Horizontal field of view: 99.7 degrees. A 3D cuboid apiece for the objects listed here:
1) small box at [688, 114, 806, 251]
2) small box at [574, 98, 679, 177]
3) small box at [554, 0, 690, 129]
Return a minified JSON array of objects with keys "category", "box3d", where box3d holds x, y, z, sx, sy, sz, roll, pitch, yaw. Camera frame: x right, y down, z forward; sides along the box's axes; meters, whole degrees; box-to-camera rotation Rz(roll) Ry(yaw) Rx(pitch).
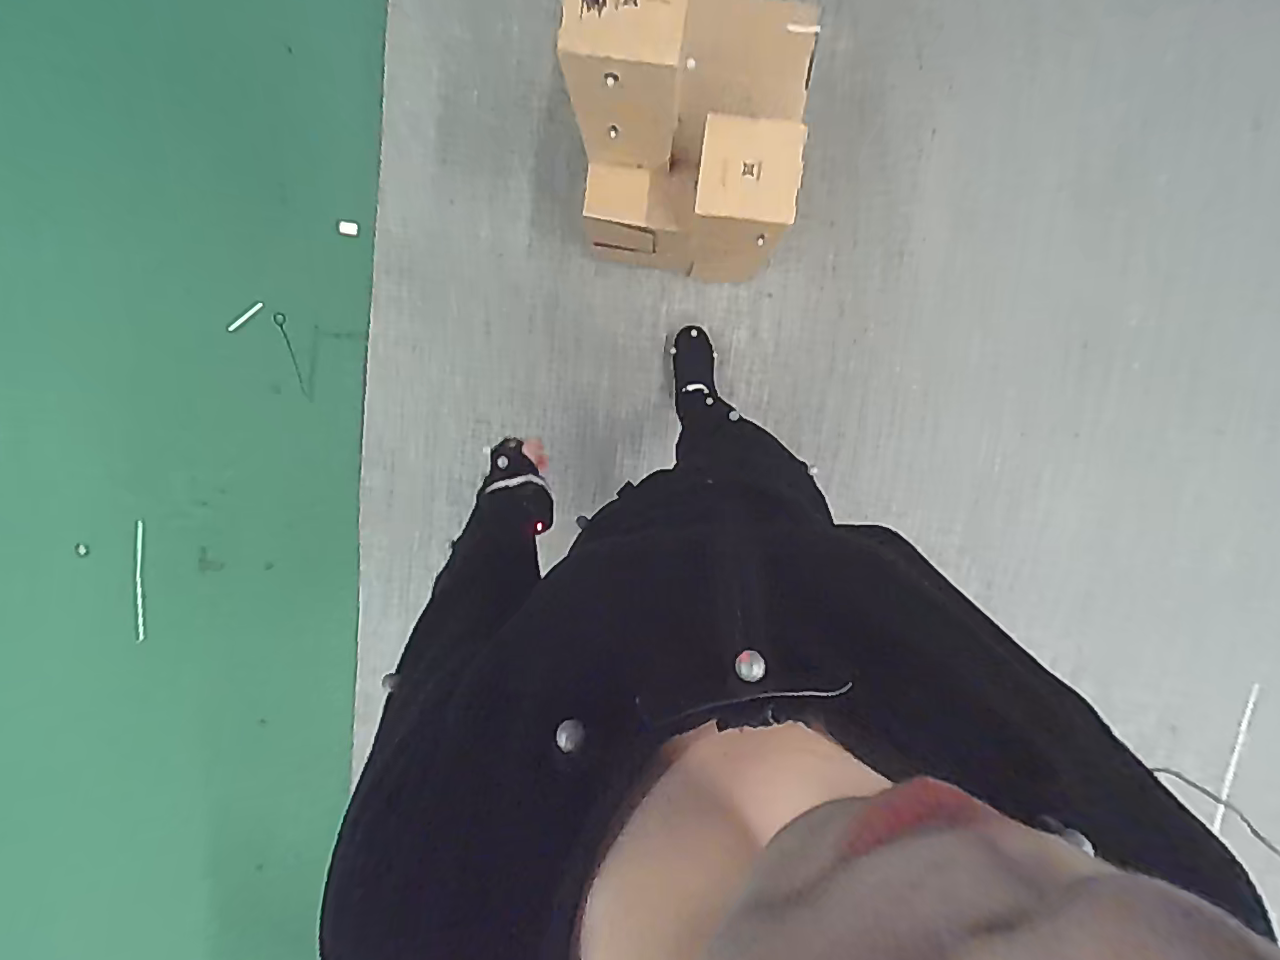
[{"category":"small box","box3d":[0.189,-0.538,1.003,0.179,0.176,0.168,7,96,1]},{"category":"small box","box3d":[-0.017,-0.696,0.994,0.168,0.176,0.179,9,96,2]},{"category":"small box","box3d":[-0.021,-0.674,0.830,0.179,0.176,0.168,8,97,1]}]
